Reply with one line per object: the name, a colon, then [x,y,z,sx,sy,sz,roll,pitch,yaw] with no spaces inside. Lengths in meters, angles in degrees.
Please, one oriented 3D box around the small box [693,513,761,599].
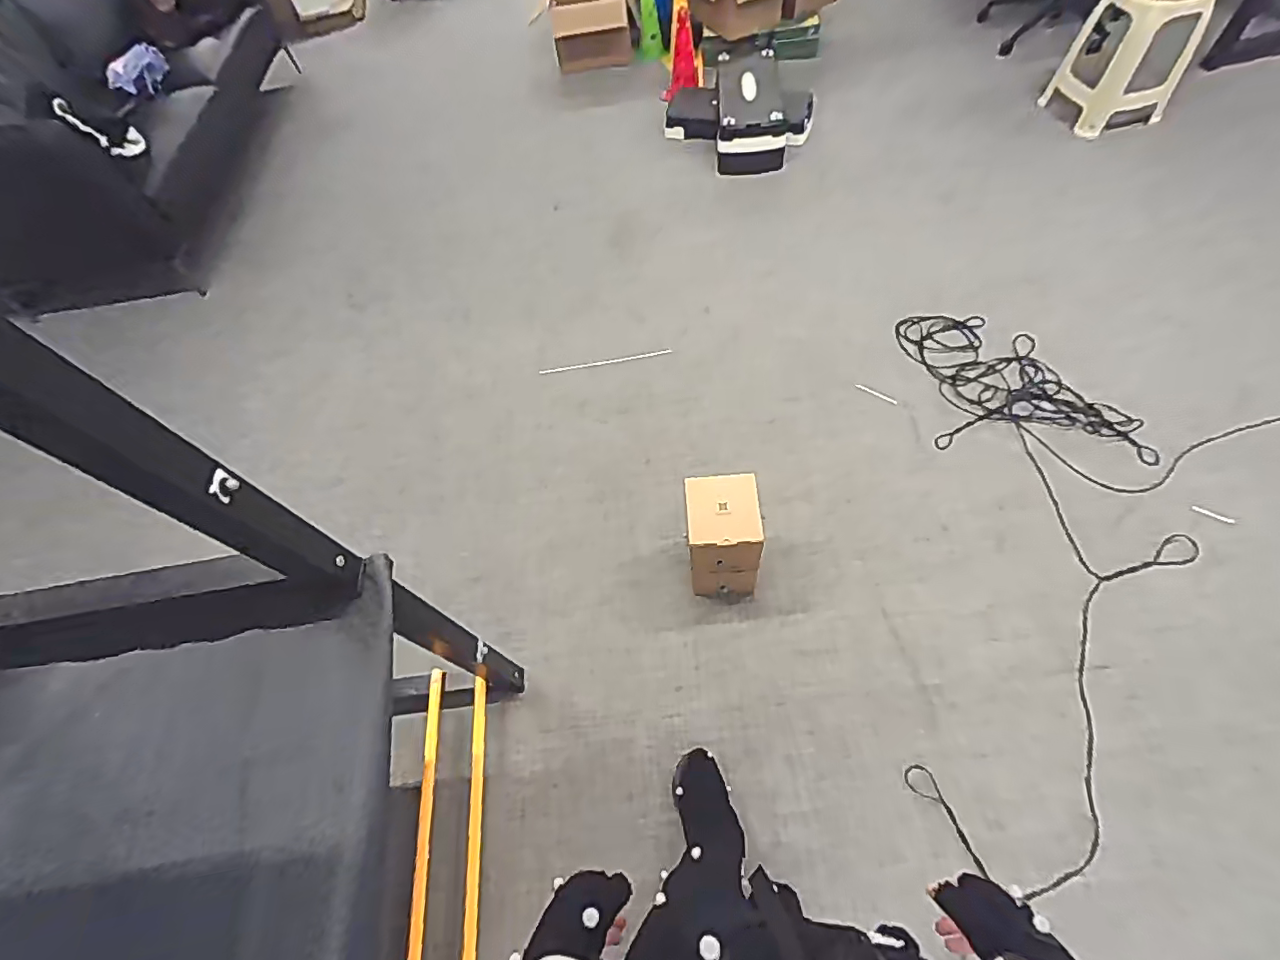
small box: [0.226,0.206,1.438,0.168,0.176,0.179,-4,59,7]
